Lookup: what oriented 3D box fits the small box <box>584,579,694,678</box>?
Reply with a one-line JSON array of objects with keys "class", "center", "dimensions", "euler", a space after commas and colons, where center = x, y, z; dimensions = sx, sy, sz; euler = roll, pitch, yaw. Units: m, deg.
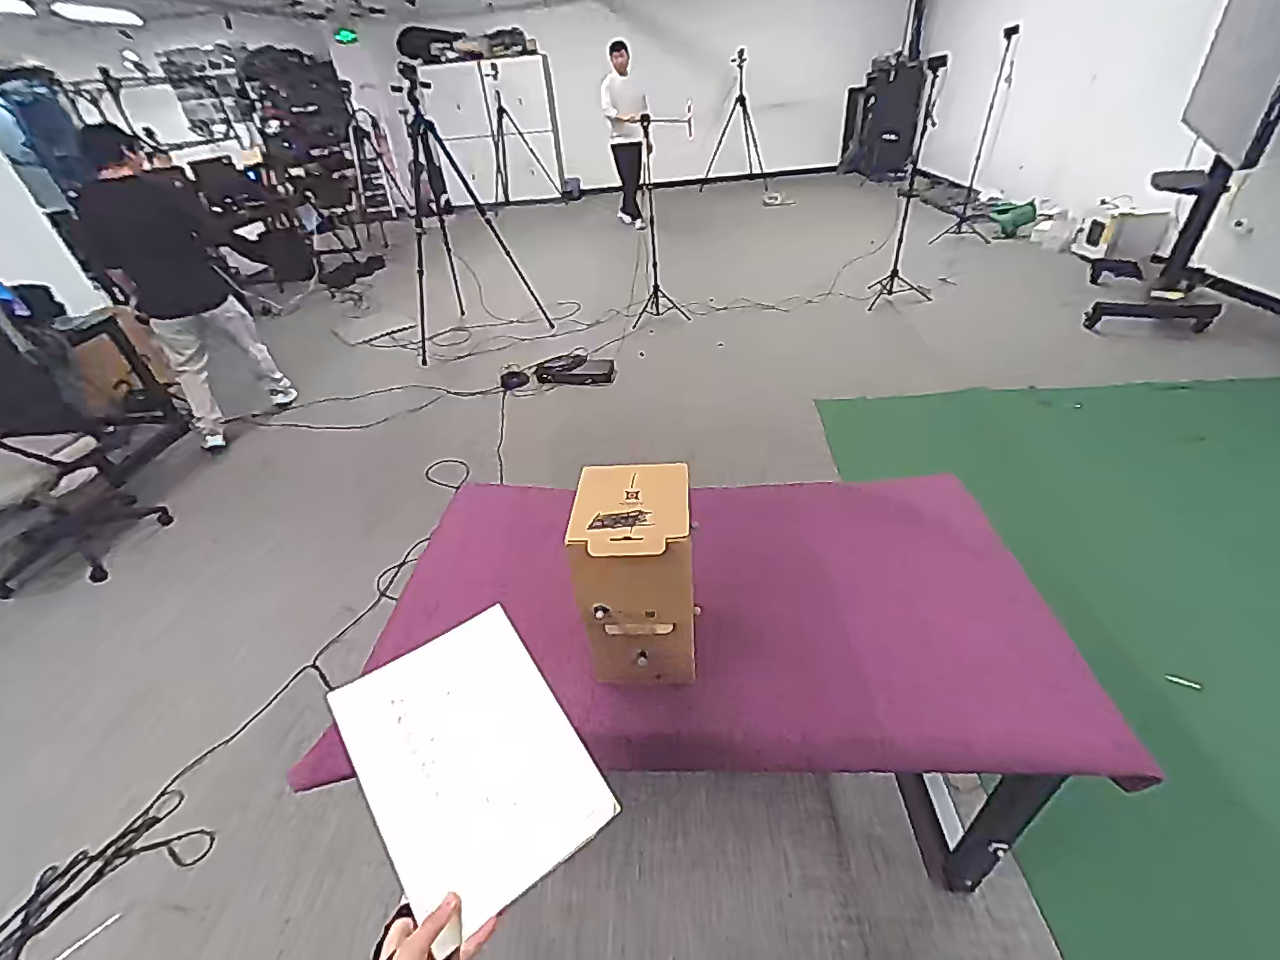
[{"class": "small box", "center": [0.008, 0.219, 0.927], "dimensions": [0.168, 0.176, 0.179], "euler": [-1, 38, 5]}]

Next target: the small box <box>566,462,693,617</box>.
[{"class": "small box", "center": [-0.005, 0.091, 0.823], "dimensions": [0.168, 0.176, 0.179], "euler": [-1, 36, 6]}]
